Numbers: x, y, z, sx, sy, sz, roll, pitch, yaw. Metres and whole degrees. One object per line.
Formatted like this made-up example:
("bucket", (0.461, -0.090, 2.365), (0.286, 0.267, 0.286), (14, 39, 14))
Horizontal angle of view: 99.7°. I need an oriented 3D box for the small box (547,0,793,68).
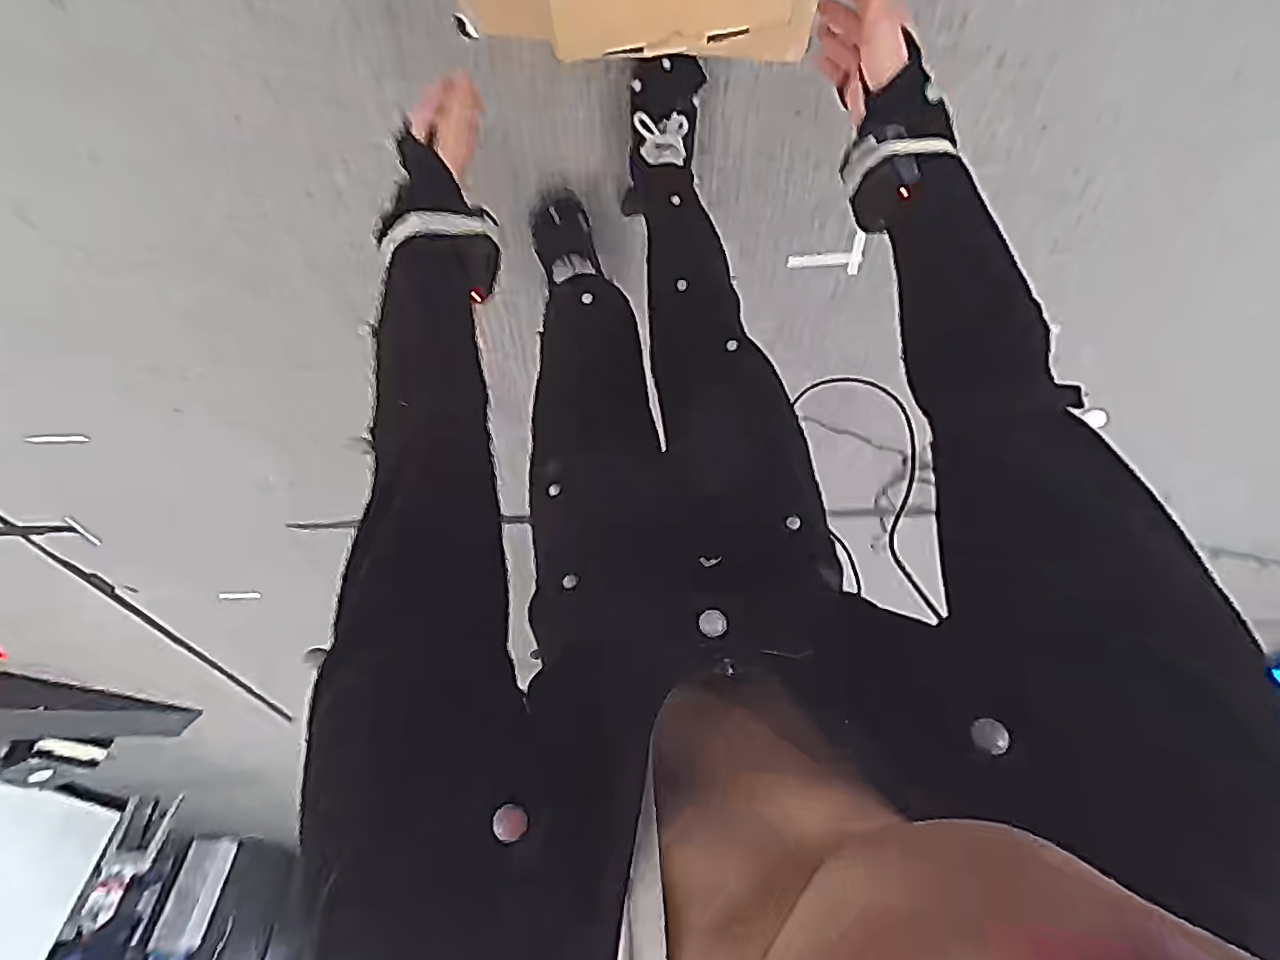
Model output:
("small box", (0.010, -0.417, 0.367), (0.168, 0.176, 0.179), (-8, 137, 3))
